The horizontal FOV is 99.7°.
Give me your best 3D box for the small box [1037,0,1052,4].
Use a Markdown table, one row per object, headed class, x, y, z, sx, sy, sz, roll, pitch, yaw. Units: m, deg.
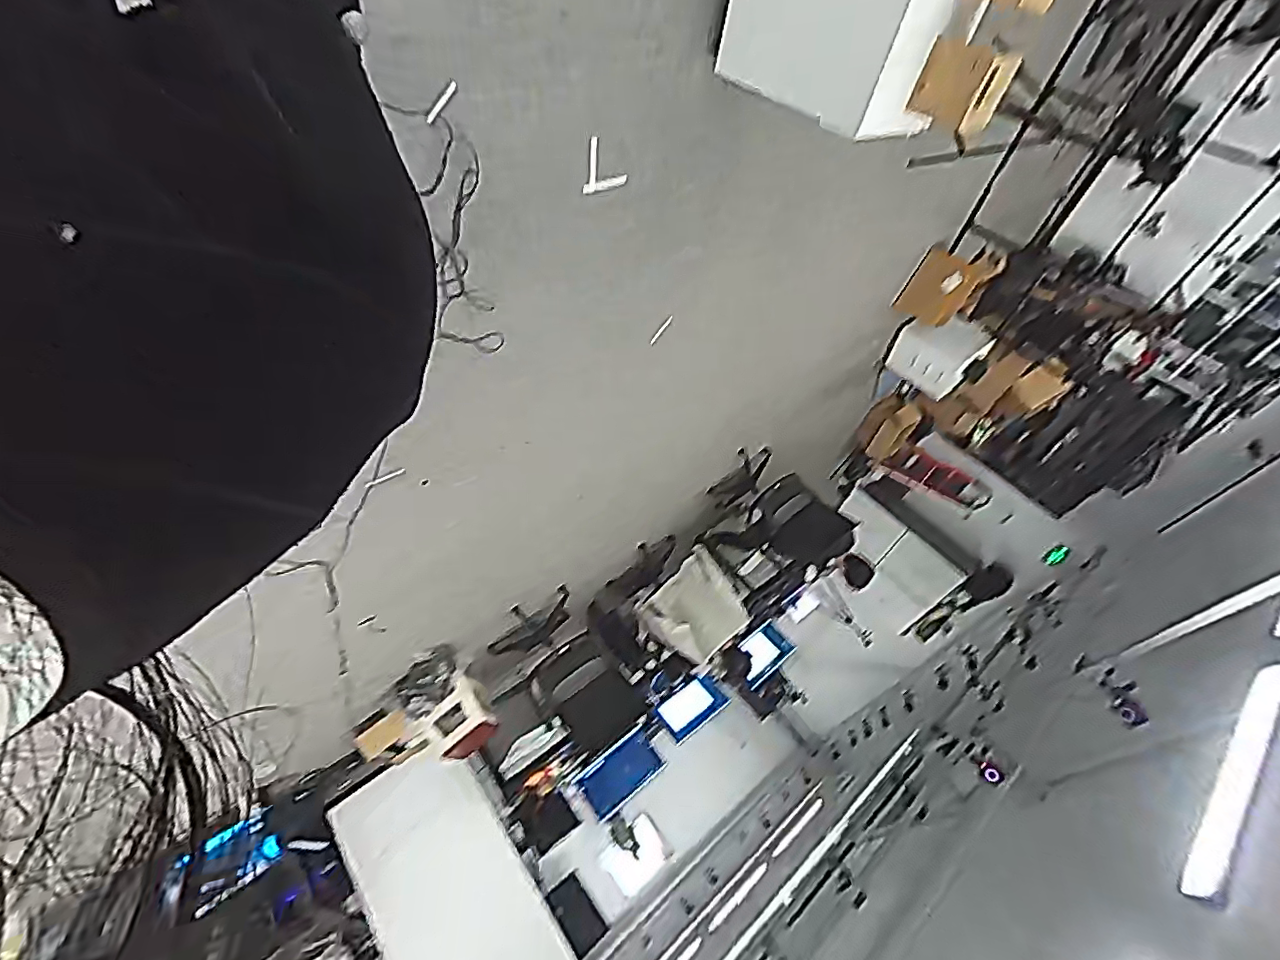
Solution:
| class | x | y | z | sx | sy | sz | roll | pitch | yaw |
| --- | --- | --- | --- | --- | --- | --- | --- | --- | --- |
| small box | 0.900 | -1.239 | 1.251 | 0.179 | 0.176 | 0.168 | -26 | 149 | -33 |
